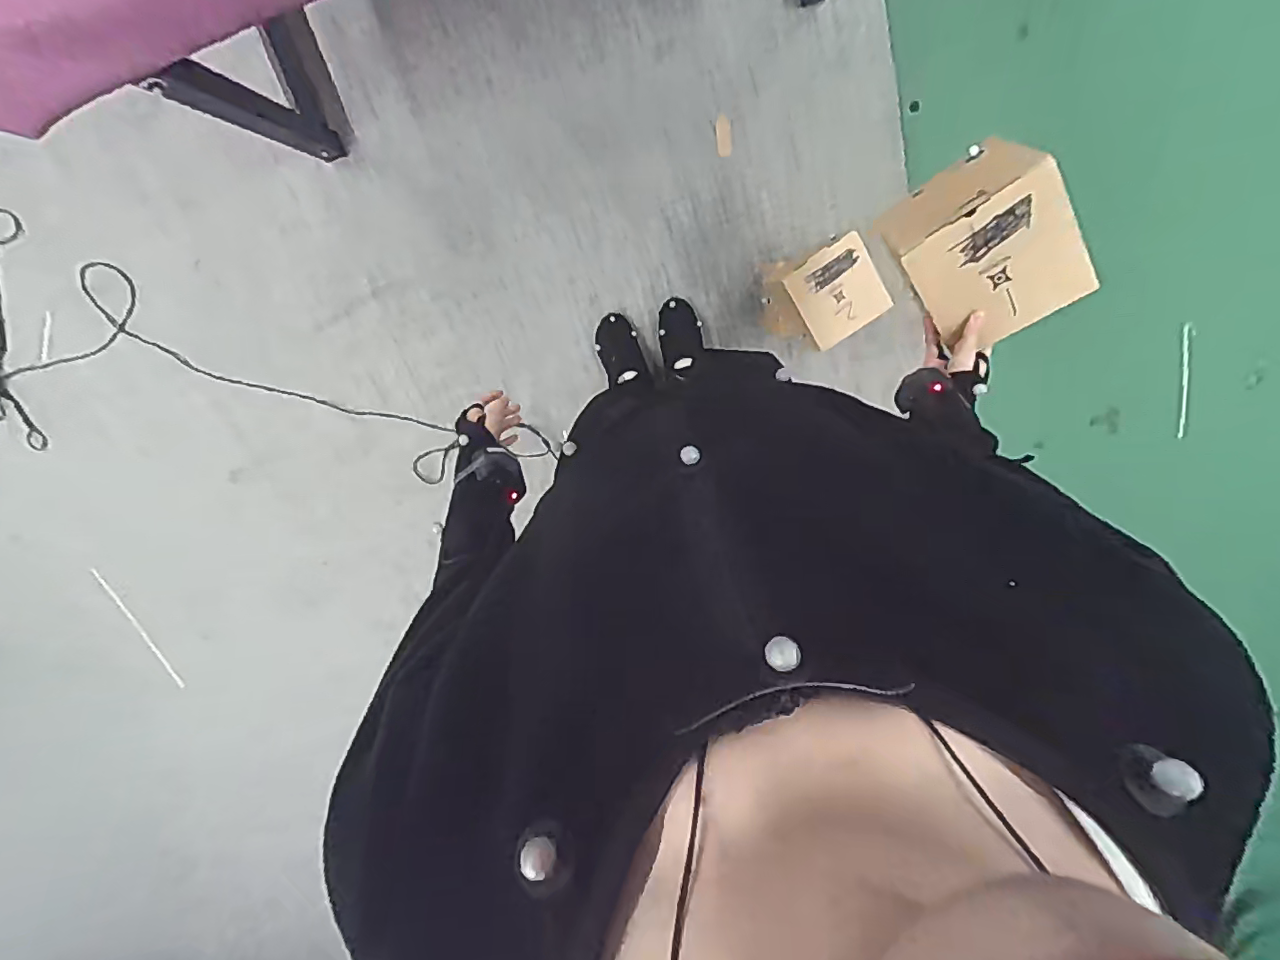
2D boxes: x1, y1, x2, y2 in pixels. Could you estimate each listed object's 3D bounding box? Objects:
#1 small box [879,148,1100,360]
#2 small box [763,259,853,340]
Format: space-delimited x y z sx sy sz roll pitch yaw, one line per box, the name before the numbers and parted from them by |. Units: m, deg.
small box | 0.436 -0.296 0.699 0.168 0.176 0.179 -30 118 29
small box | 0.397 -0.435 1.310 0.179 0.176 0.168 -5 109 2
